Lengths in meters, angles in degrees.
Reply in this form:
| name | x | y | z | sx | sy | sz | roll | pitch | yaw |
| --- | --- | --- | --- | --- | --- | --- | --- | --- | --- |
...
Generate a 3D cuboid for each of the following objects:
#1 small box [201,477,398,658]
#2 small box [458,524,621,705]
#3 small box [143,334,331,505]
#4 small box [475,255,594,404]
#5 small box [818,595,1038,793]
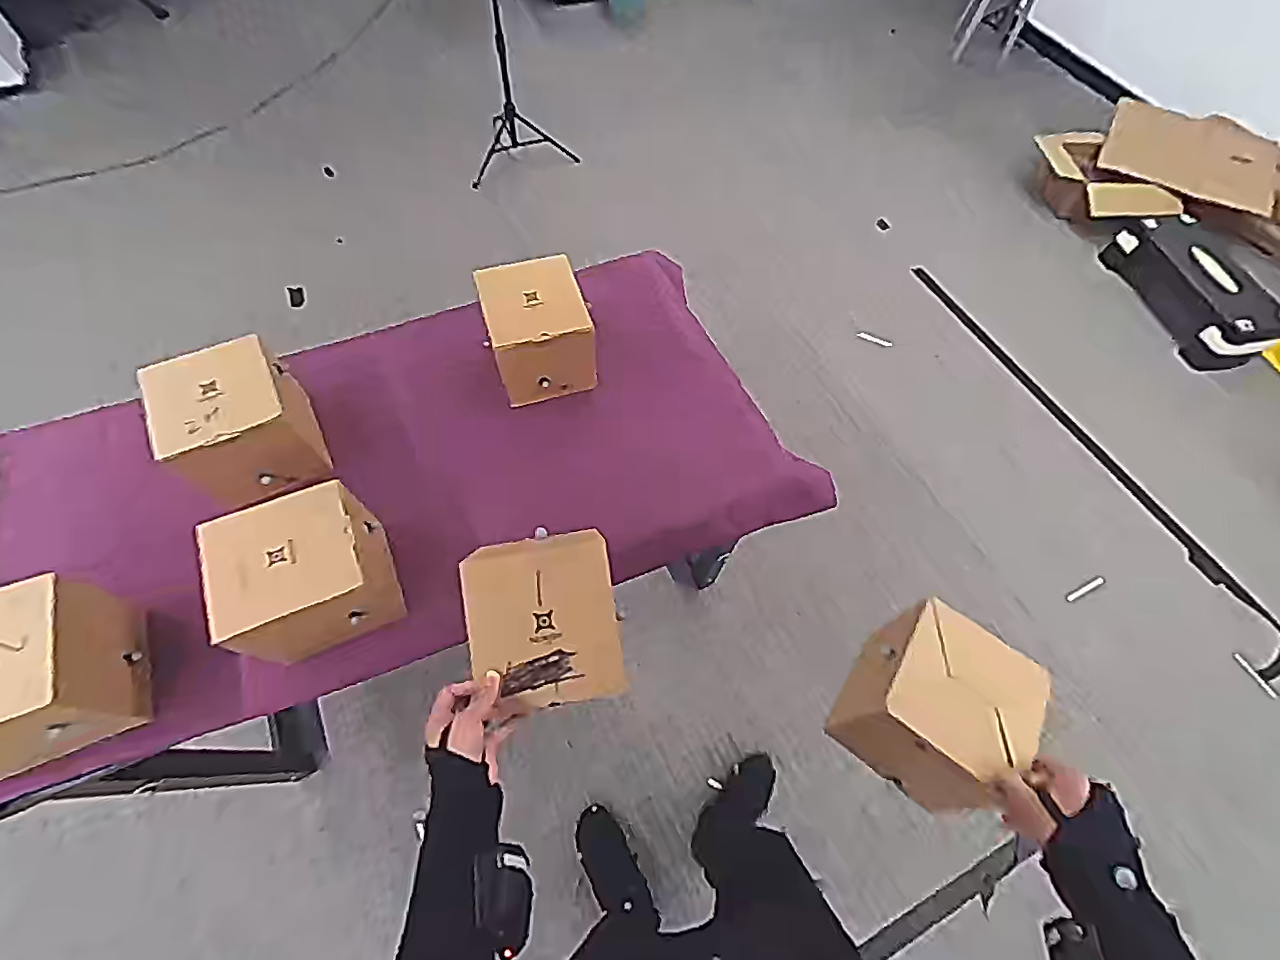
| name | x | y | z | sx | sy | sz | roll | pitch | yaw |
| --- | --- | --- | --- | --- | --- | --- | --- | --- | --- |
| small box | -0.456 | 0.127 | 0.751 | 0.179 | 0.176 | 0.168 | -21 | 66 | -15 |
| small box | -0.122 | 0.157 | 0.690 | 0.168 | 0.176 | 0.179 | -9 | 89 | -9 |
| small box | -0.625 | -0.091 | 0.855 | 0.168 | 0.176 | 0.179 | -25 | 67 | -15 |
| small box | -0.186 | -0.267 | 0.976 | 0.168 | 0.176 | 0.179 | -16 | 66 | -11 |
| small box | 0.367 | 0.270 | 0.695 | 0.168 | 0.176 | 0.179 | 34 | 59 | 13 |
